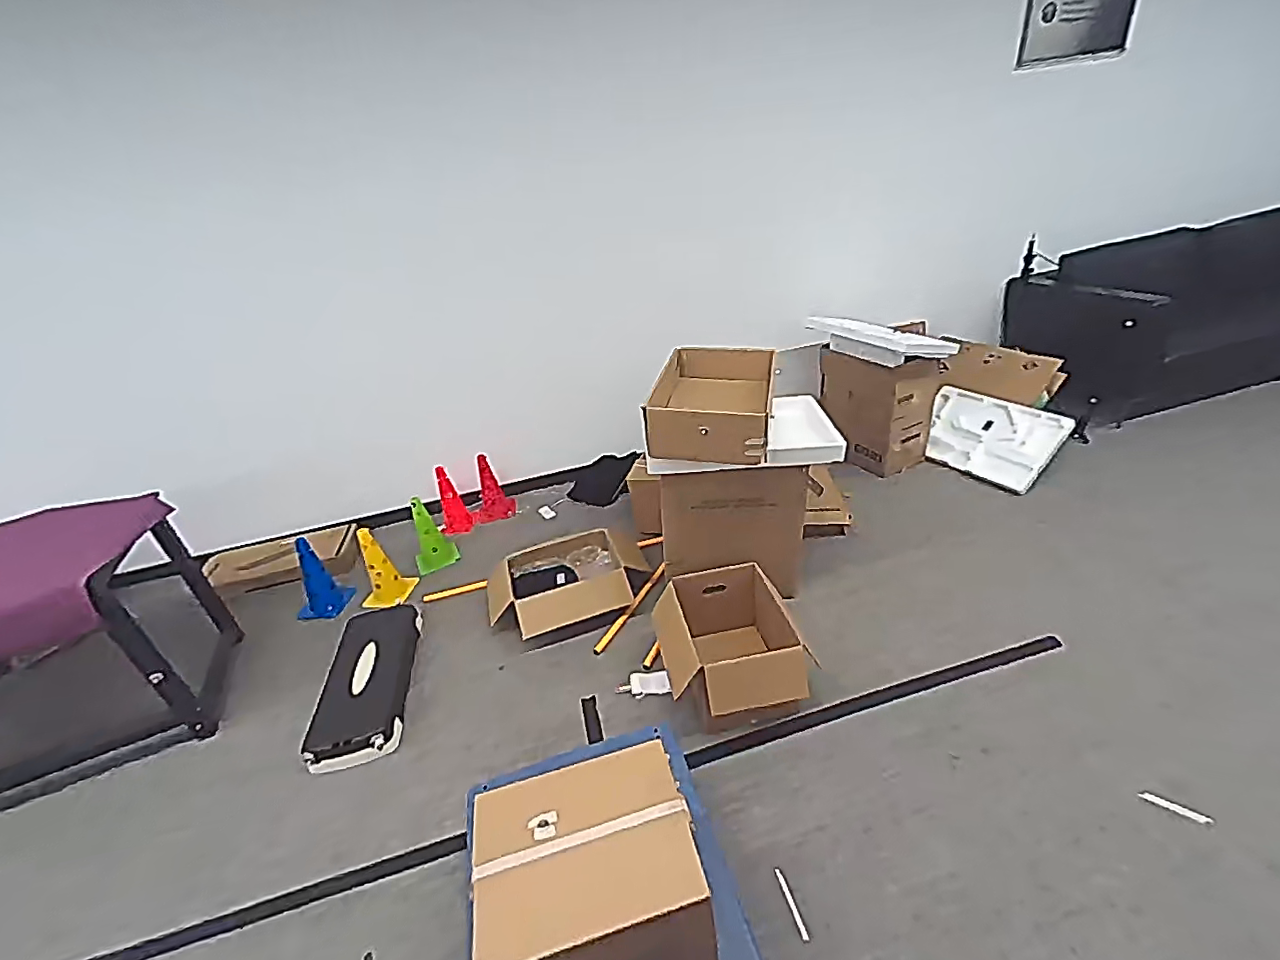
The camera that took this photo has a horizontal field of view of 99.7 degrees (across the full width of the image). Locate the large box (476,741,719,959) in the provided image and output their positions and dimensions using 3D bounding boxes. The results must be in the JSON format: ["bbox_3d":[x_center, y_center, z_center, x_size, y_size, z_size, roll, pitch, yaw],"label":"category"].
[{"bbox_3d":[-0.088,0.815,1.096,0.408,0.320,0.320,-14,29,-9],"label":"large box"}]
